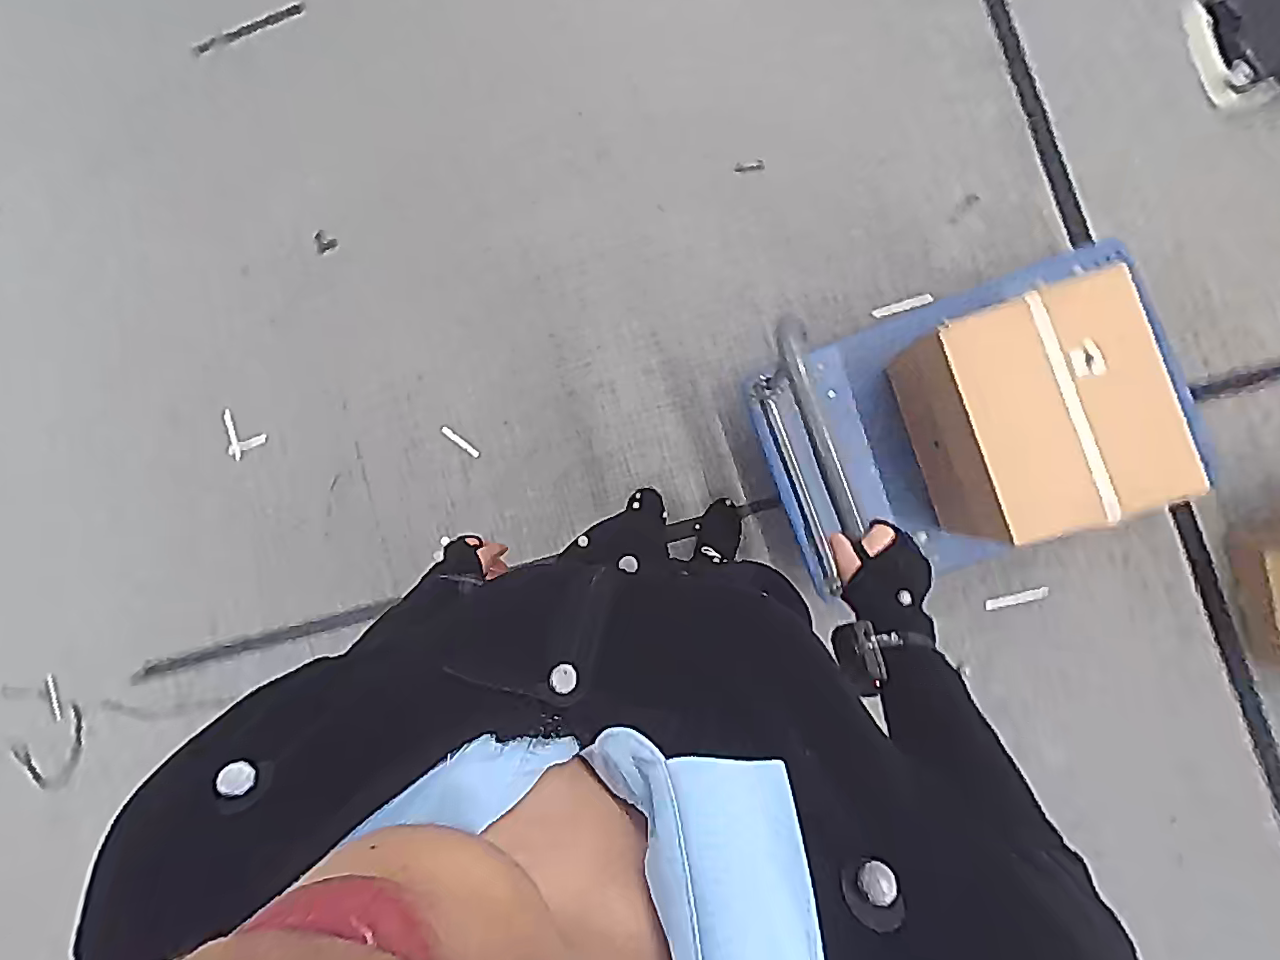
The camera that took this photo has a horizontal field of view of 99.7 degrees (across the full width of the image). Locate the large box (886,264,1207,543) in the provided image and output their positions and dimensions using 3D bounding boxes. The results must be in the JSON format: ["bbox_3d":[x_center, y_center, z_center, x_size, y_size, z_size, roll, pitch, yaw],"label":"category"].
[{"bbox_3d":[0.735,-0.123,1.051,0.320,0.320,0.408,-18,86,7],"label":"large box"}]
